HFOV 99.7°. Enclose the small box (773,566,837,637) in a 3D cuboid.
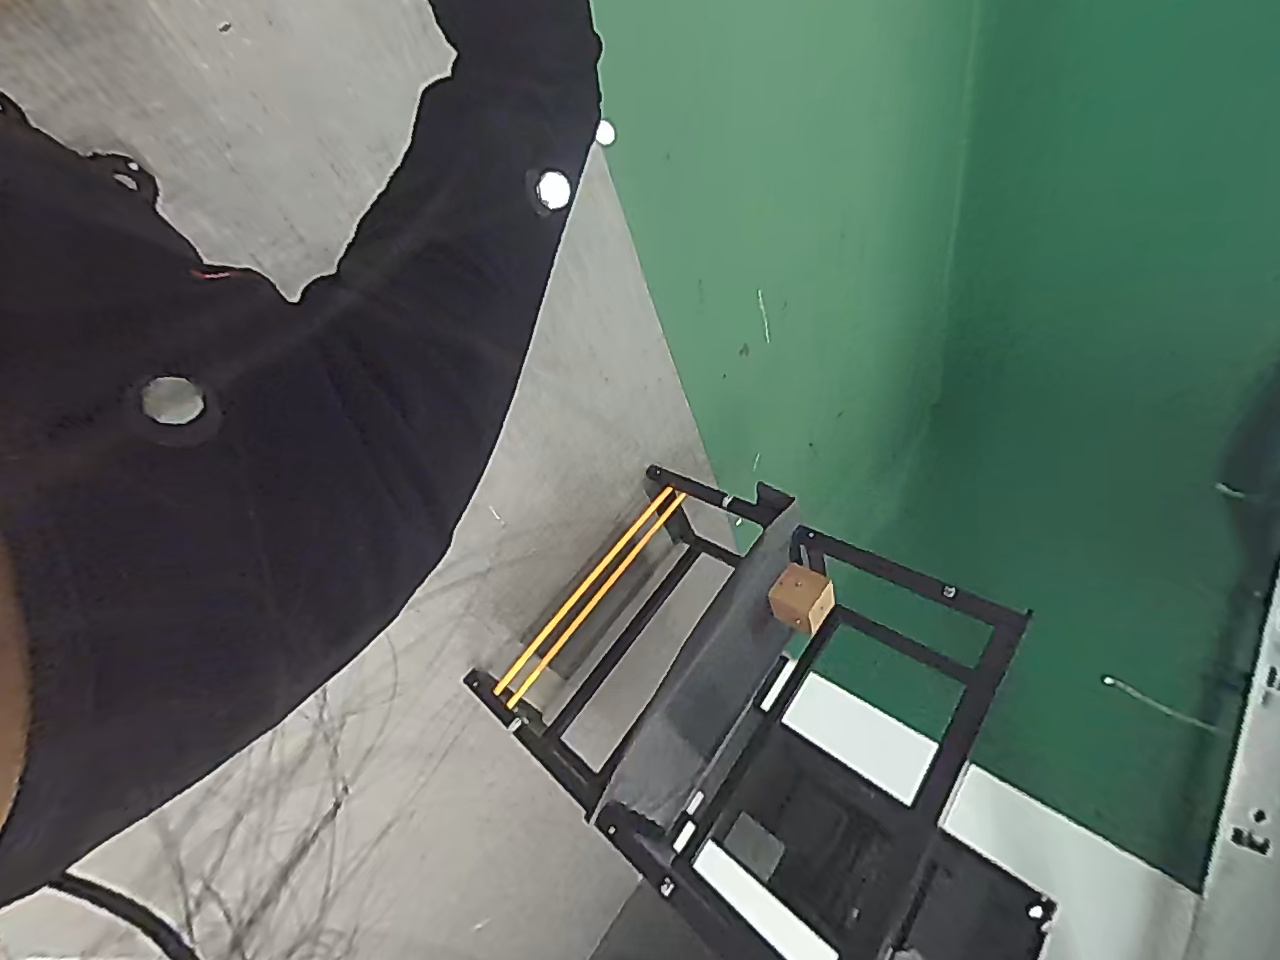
[{"bbox_3d":[0.611,0.445,2.010,0.168,0.176,0.179,-47,138,-22],"label":"small box"}]
